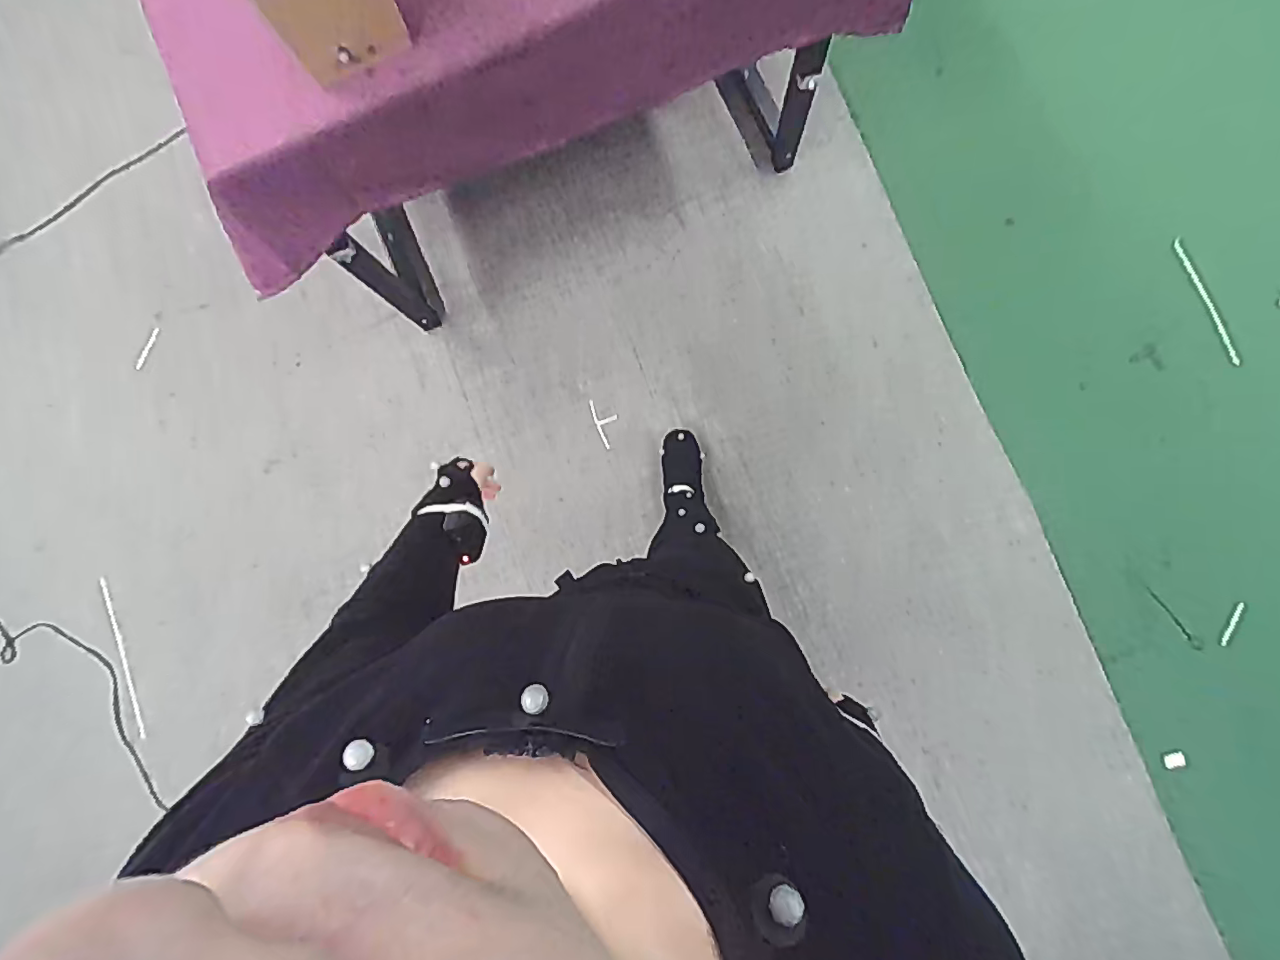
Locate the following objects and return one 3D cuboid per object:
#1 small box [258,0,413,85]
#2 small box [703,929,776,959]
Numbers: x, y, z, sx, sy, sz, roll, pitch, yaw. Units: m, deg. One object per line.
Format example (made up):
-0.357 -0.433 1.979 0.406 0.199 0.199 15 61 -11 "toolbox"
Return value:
-0.470 -0.745 0.797 0.168 0.176 0.179 -22 84 2 "small box"
0.250 1.194 1.254 0.168 0.176 0.179 -18 84 2 "small box"
